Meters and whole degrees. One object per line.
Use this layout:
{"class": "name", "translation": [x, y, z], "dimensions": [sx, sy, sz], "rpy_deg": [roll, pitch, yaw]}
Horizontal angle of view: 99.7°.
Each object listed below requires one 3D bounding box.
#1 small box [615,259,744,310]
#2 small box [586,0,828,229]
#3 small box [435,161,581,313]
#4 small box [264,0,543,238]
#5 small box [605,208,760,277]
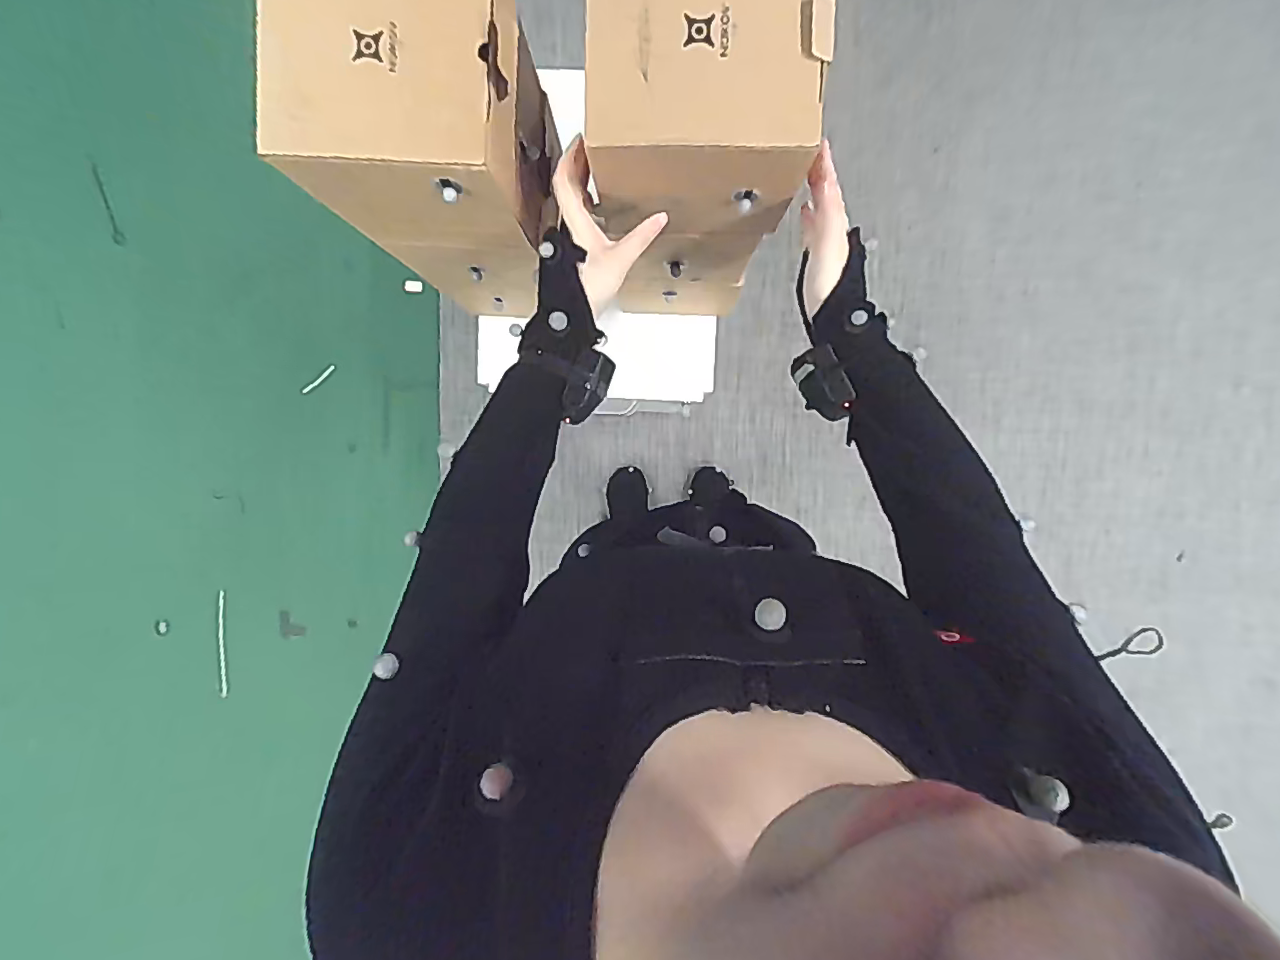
{"class": "small box", "translation": [0.059, -0.356, 0.804], "dimensions": [0.179, 0.176, 0.168], "rpy_deg": [3, 94, 1]}
{"class": "small box", "translation": [0.052, -0.337, 0.476], "dimensions": [0.179, 0.176, 0.168], "rpy_deg": [2, 94, 3]}
{"class": "small box", "translation": [-0.188, -0.354, 0.809], "dimensions": [0.179, 0.176, 0.168], "rpy_deg": [3, 95, -1]}
{"class": "small box", "translation": [-0.191, -0.331, 0.482], "dimensions": [0.179, 0.176, 0.168], "rpy_deg": [3, 94, 0]}
{"class": "small box", "translation": [0.049, -0.349, 0.639], "dimensions": [0.168, 0.176, 0.179], "rpy_deg": [1, 94, 1]}
